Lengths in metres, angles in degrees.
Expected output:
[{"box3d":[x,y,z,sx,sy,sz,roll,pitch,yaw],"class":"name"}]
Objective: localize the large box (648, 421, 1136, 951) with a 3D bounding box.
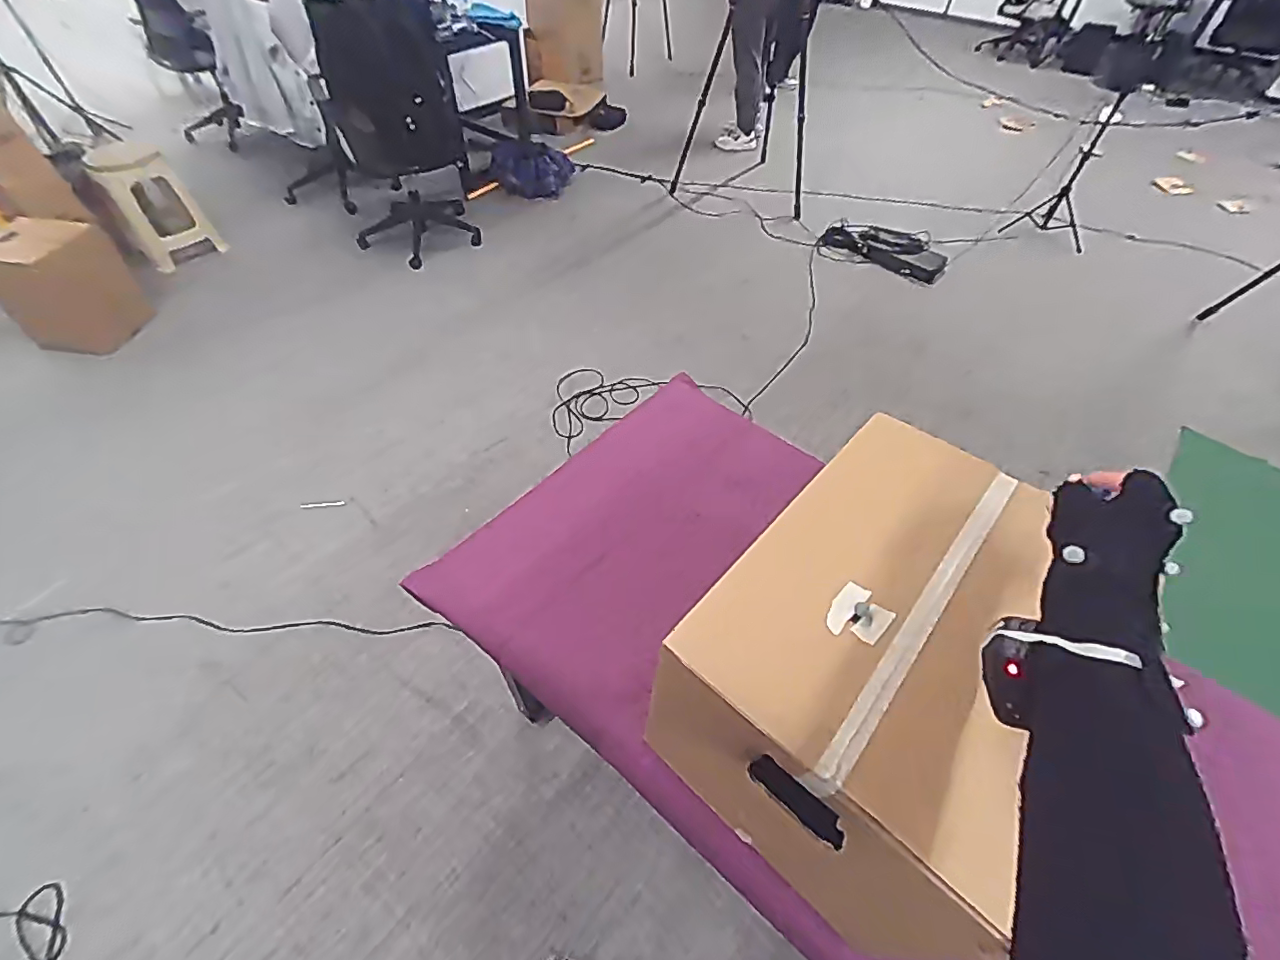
[{"box3d":[0.257,0.210,0.628,0.320,0.320,0.408,36,58,24],"class":"large box"}]
